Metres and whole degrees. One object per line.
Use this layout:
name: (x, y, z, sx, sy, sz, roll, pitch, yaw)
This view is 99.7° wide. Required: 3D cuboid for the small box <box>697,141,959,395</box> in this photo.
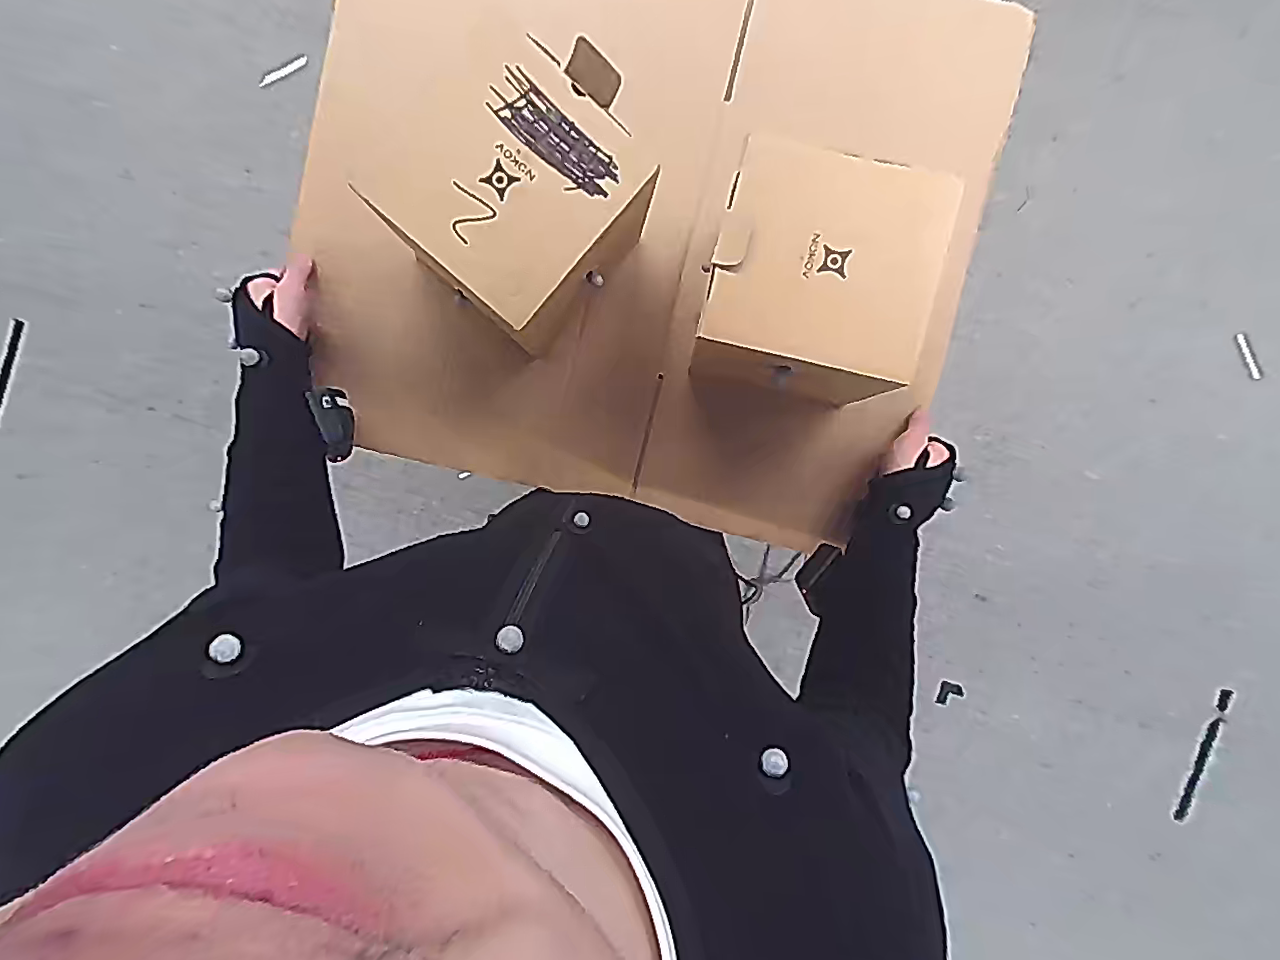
small box: (0.159, -0.183, 0.522, 0.179, 0.176, 0.168, 14, 93, 4)
